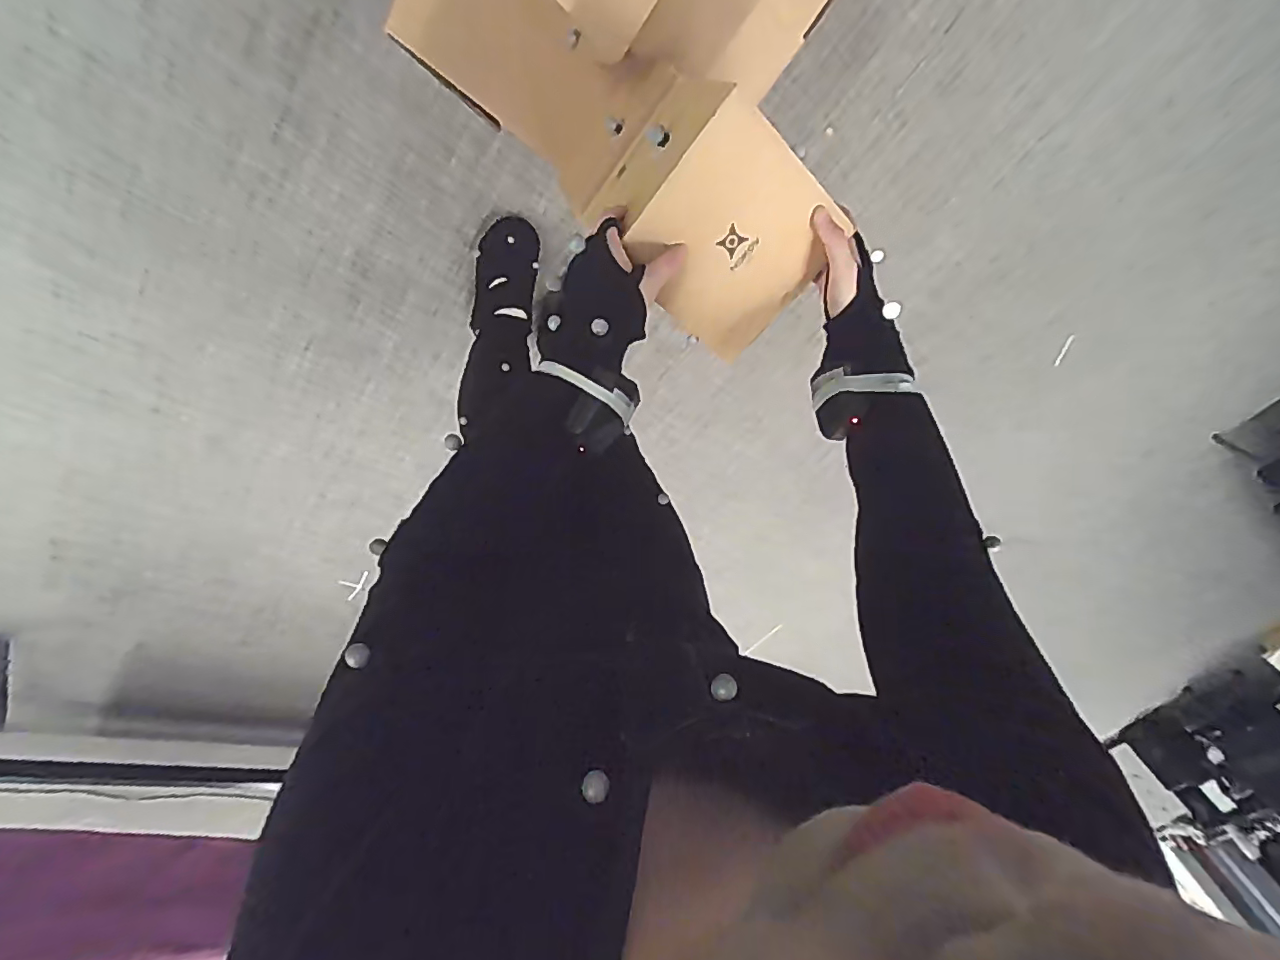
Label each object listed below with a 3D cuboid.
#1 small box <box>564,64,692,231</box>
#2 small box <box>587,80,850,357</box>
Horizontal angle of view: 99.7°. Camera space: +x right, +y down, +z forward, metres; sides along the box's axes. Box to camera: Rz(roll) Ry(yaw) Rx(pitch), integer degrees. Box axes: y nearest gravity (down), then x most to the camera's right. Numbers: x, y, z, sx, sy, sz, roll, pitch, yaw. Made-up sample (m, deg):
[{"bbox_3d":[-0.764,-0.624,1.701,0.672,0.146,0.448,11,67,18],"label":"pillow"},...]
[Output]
[{"bbox_3d":[0.021,-0.373,0.671,0.168,0.176,0.179,26,118,-33],"label":"small box"},{"bbox_3d":[0.066,-0.264,0.548,0.179,0.176,0.168,27,117,-33],"label":"small box"}]
